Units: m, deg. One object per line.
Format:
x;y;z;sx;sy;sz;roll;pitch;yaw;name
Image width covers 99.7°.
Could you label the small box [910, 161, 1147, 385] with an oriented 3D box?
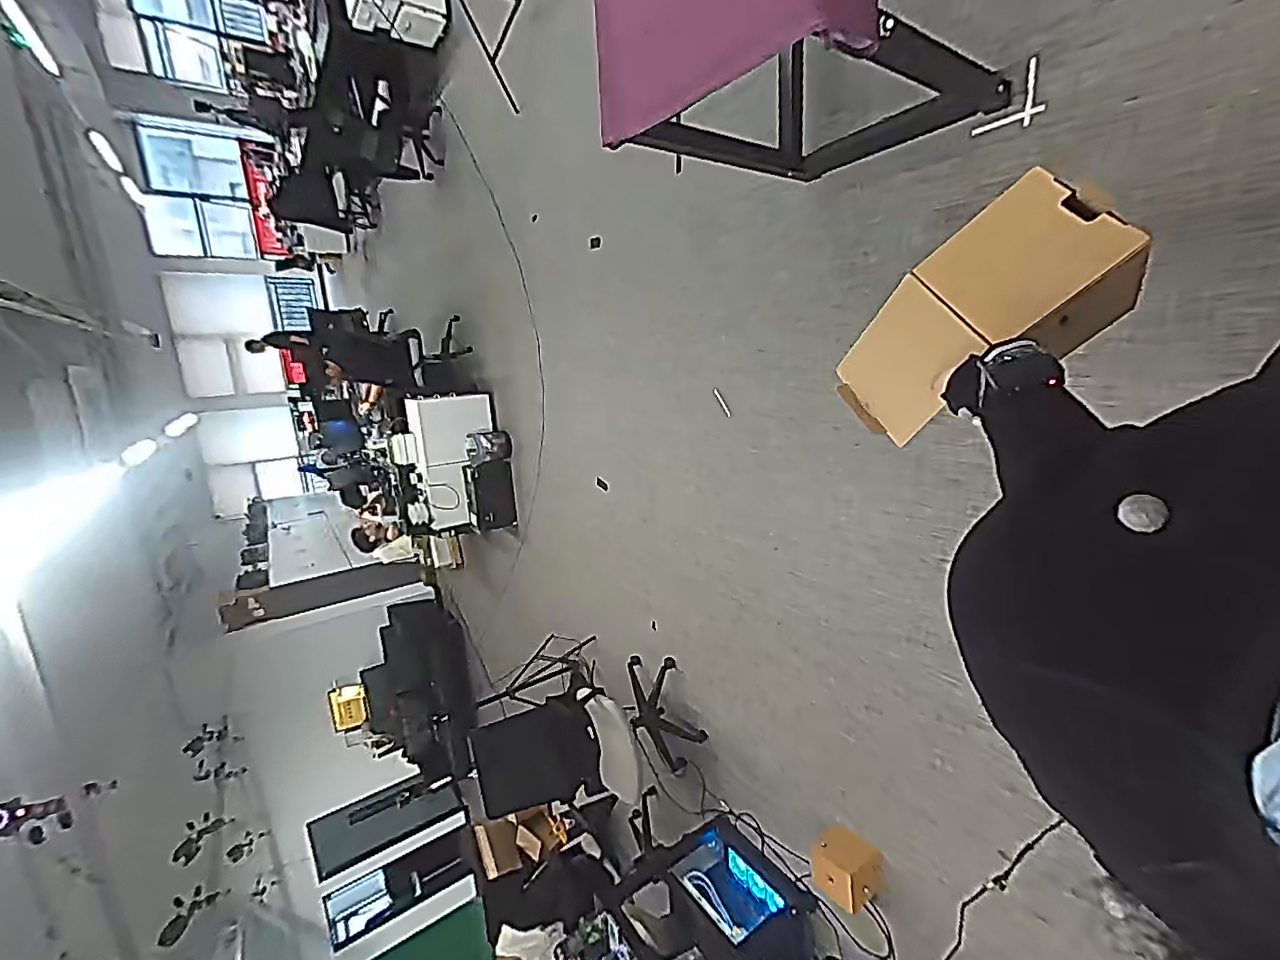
0.492;-0.252;0.699;0.179;0.176;0.168;-41;57;23;small box
